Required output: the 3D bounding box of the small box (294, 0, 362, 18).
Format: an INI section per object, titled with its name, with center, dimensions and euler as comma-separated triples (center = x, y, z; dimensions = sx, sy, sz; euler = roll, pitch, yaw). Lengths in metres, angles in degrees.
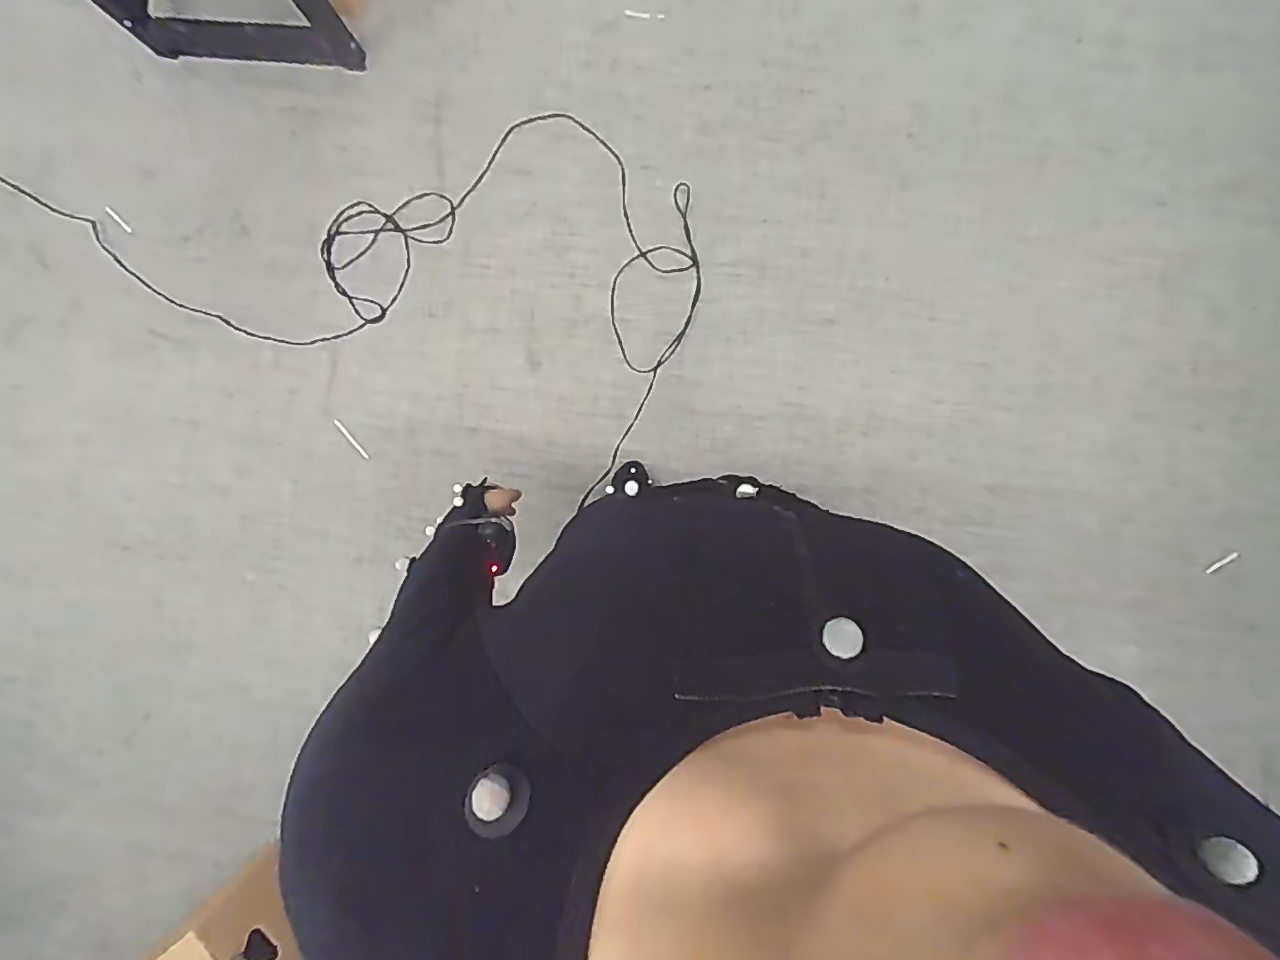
[small box]
center = -0.823, -1.332, 1.378
dimensions = 0.179, 0.176, 0.168
euler = 10, 93, 1
